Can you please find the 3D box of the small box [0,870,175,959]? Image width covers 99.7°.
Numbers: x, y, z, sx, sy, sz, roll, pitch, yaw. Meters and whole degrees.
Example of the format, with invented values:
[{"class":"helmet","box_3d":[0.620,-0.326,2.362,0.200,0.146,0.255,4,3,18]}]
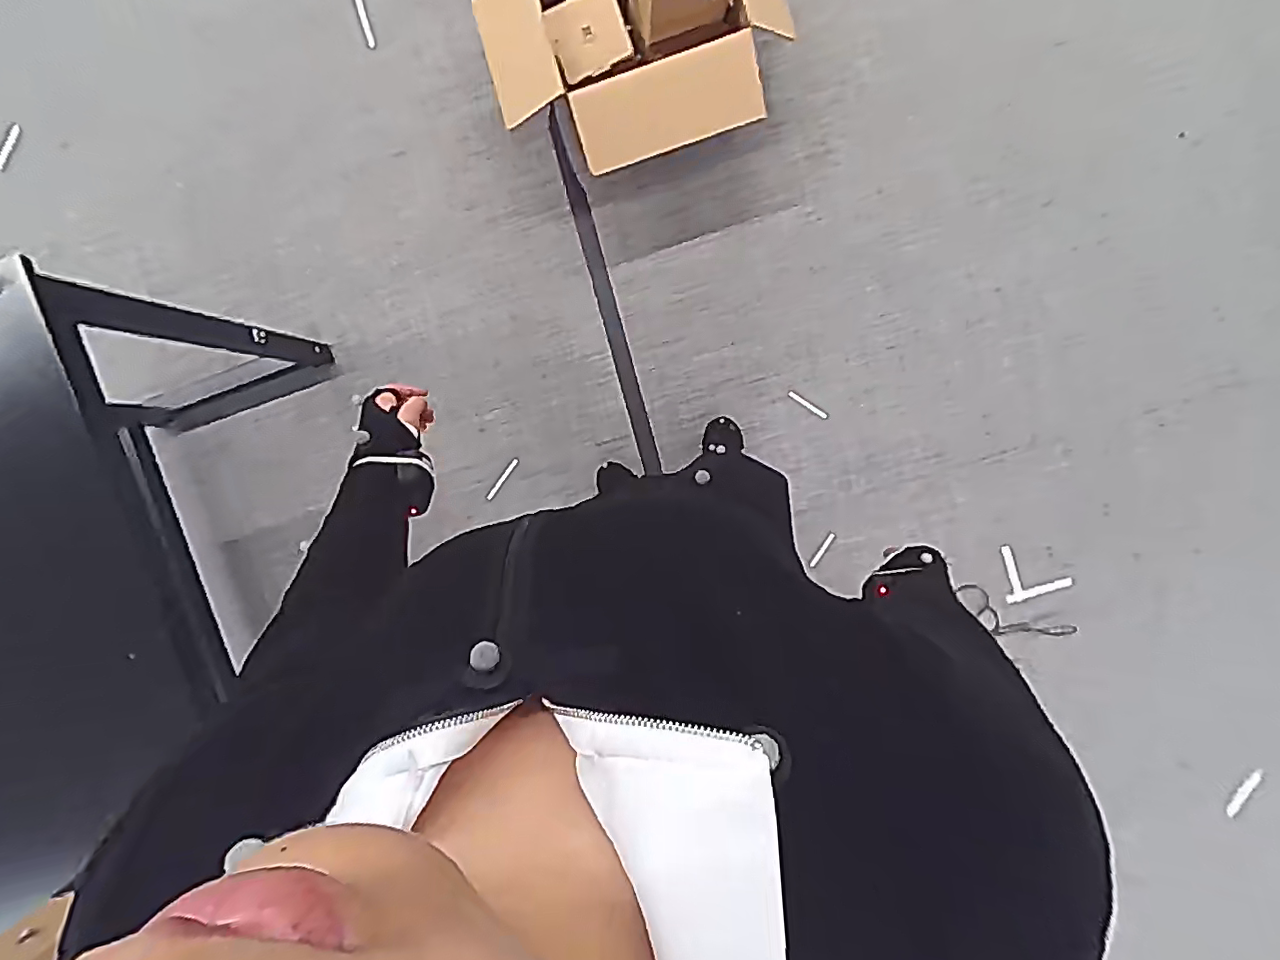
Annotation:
[{"class":"small box","box_3d":[-0.857,0.730,0.797,0.179,0.176,0.168,-19,94,4]}]
